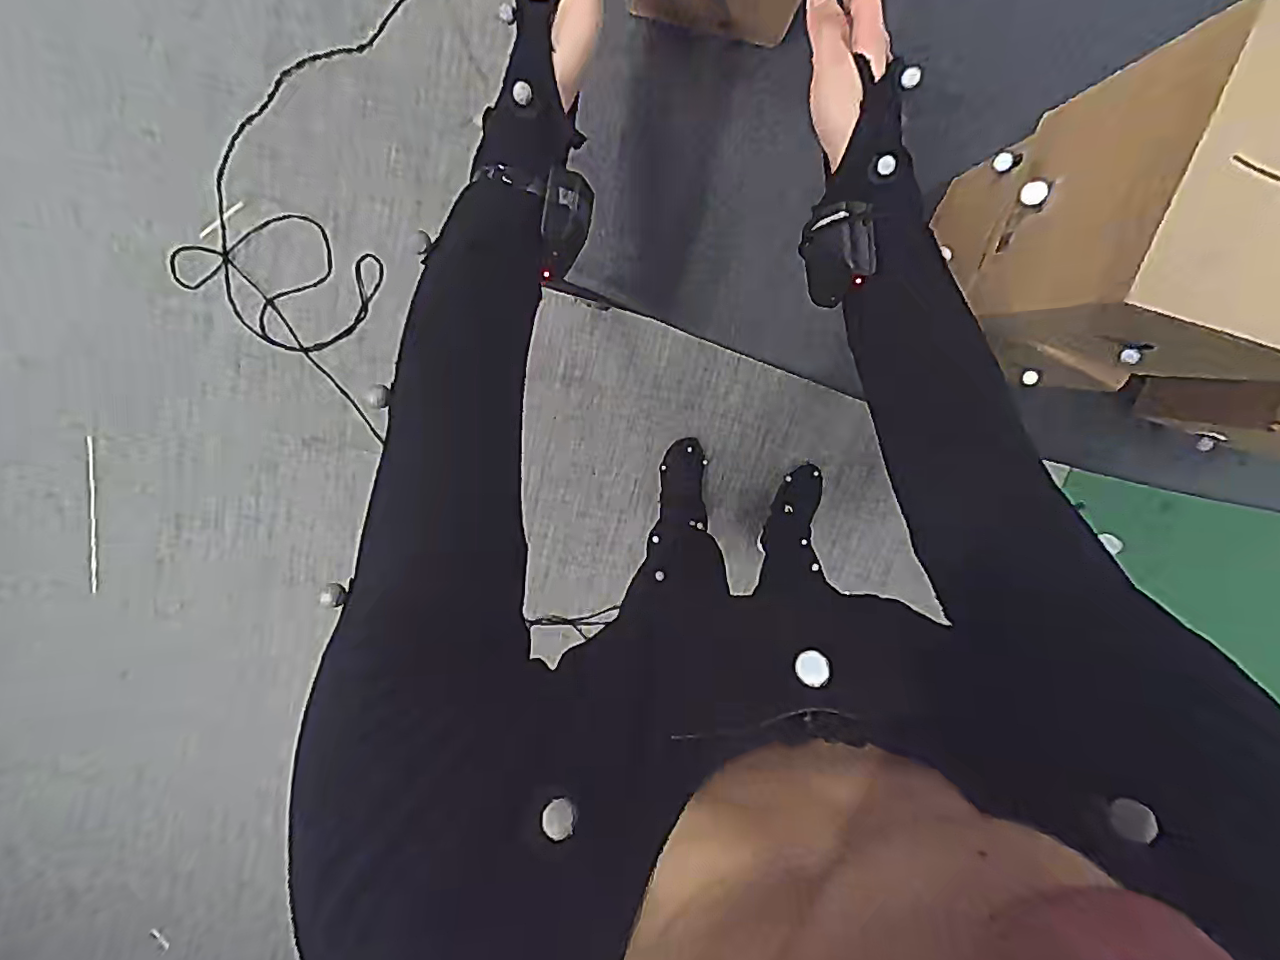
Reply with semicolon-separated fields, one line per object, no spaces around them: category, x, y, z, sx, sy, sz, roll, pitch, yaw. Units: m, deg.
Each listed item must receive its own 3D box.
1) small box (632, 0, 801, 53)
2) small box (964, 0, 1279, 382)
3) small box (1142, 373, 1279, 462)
small box;0.082;-0.524;0.467;0.168;0.176;0.179;12;106;-2
small box;0.378;-0.172;0.375;0.179;0.176;0.168;16;103;-2
small box;0.686;-0.113;0.552;0.168;0.176;0.179;16;103;-2
